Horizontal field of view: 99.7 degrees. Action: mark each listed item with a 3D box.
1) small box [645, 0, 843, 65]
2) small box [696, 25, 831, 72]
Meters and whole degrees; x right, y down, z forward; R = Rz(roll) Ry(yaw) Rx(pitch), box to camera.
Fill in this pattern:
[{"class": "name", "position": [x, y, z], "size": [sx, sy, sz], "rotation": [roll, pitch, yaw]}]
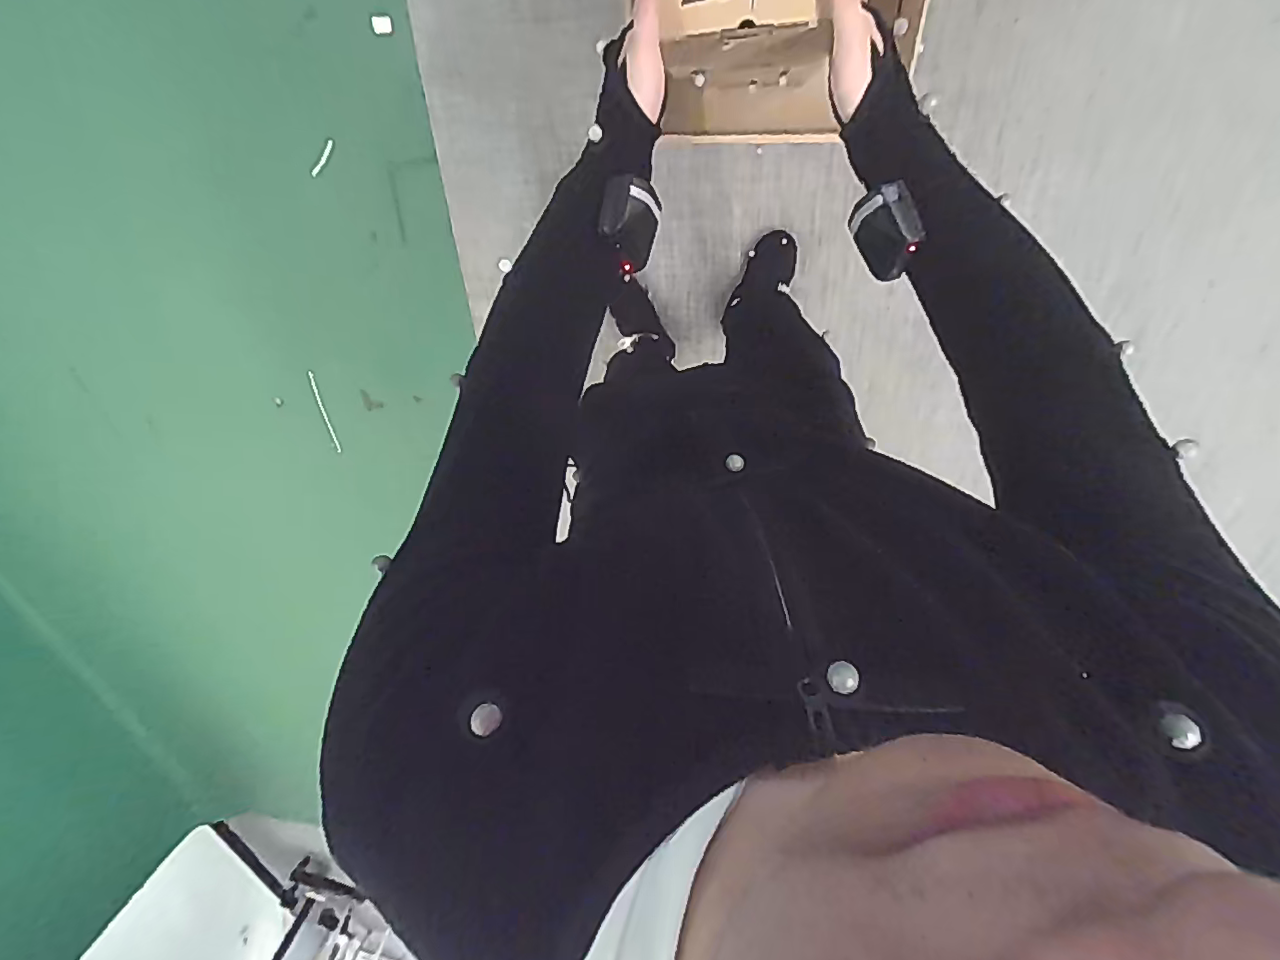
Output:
[{"class": "small box", "position": [0.096, -0.494, 0.482], "size": [0.168, 0.176, 0.179], "rotation": [2, 117, 10]}, {"class": "small box", "position": [0.140, -0.584, 0.621], "size": [0.168, 0.176, 0.179], "rotation": [6, 122, 8]}]
